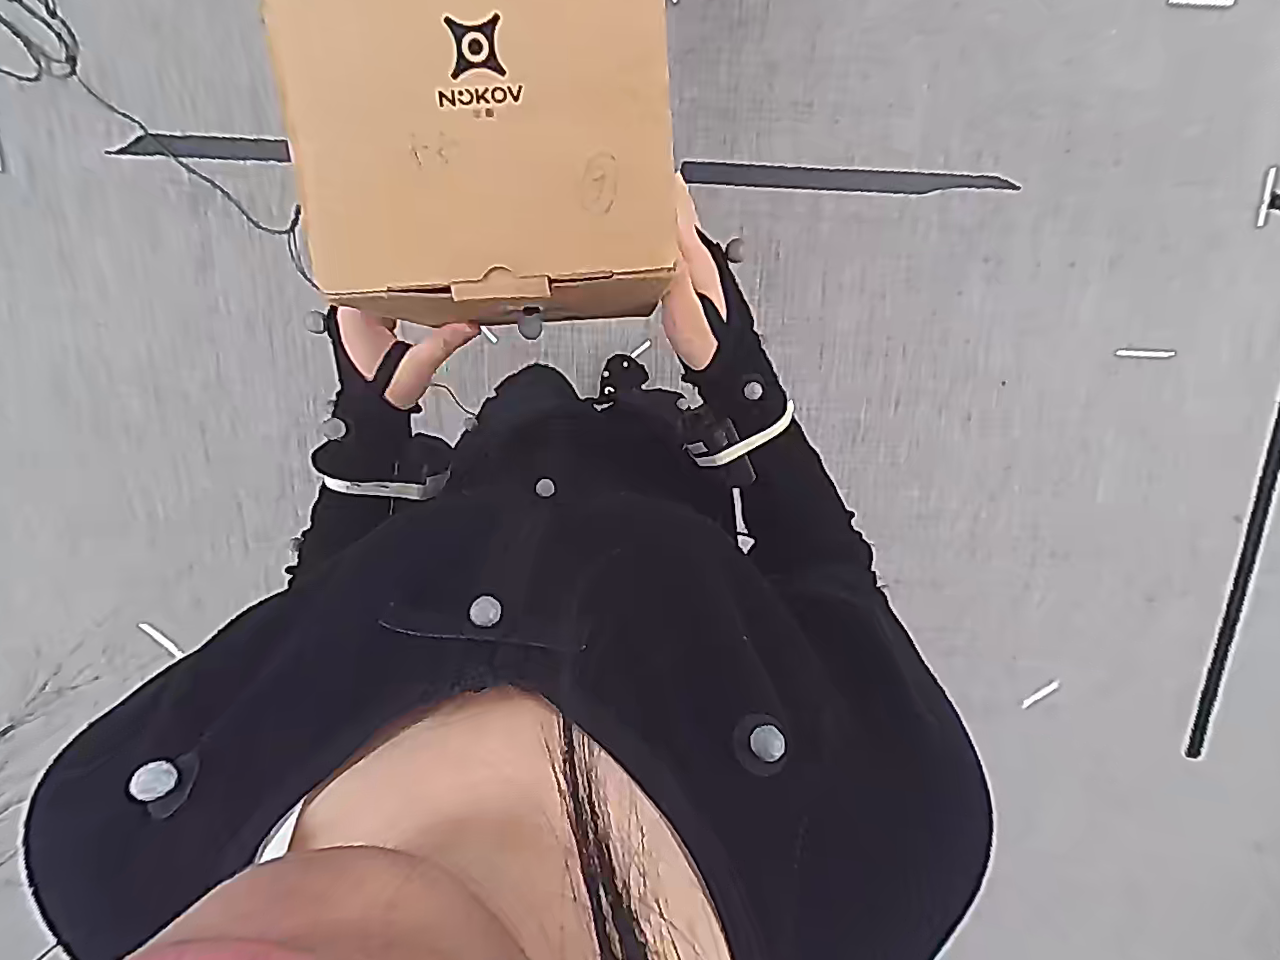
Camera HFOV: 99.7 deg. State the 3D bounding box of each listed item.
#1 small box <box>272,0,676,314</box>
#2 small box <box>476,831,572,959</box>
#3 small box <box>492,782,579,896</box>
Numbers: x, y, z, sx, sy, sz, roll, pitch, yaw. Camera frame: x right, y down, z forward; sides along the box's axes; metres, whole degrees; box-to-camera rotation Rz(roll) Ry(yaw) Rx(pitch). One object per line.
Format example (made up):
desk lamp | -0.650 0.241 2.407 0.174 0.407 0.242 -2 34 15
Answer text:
small box | -0.071 -0.192 0.308 0.168 0.176 0.179 -5 101 -2
small box | -0.230 0.863 1.108 0.168 0.176 0.179 1 100 -1
small box | -0.237 0.839 1.269 0.179 0.176 0.168 1 101 0
